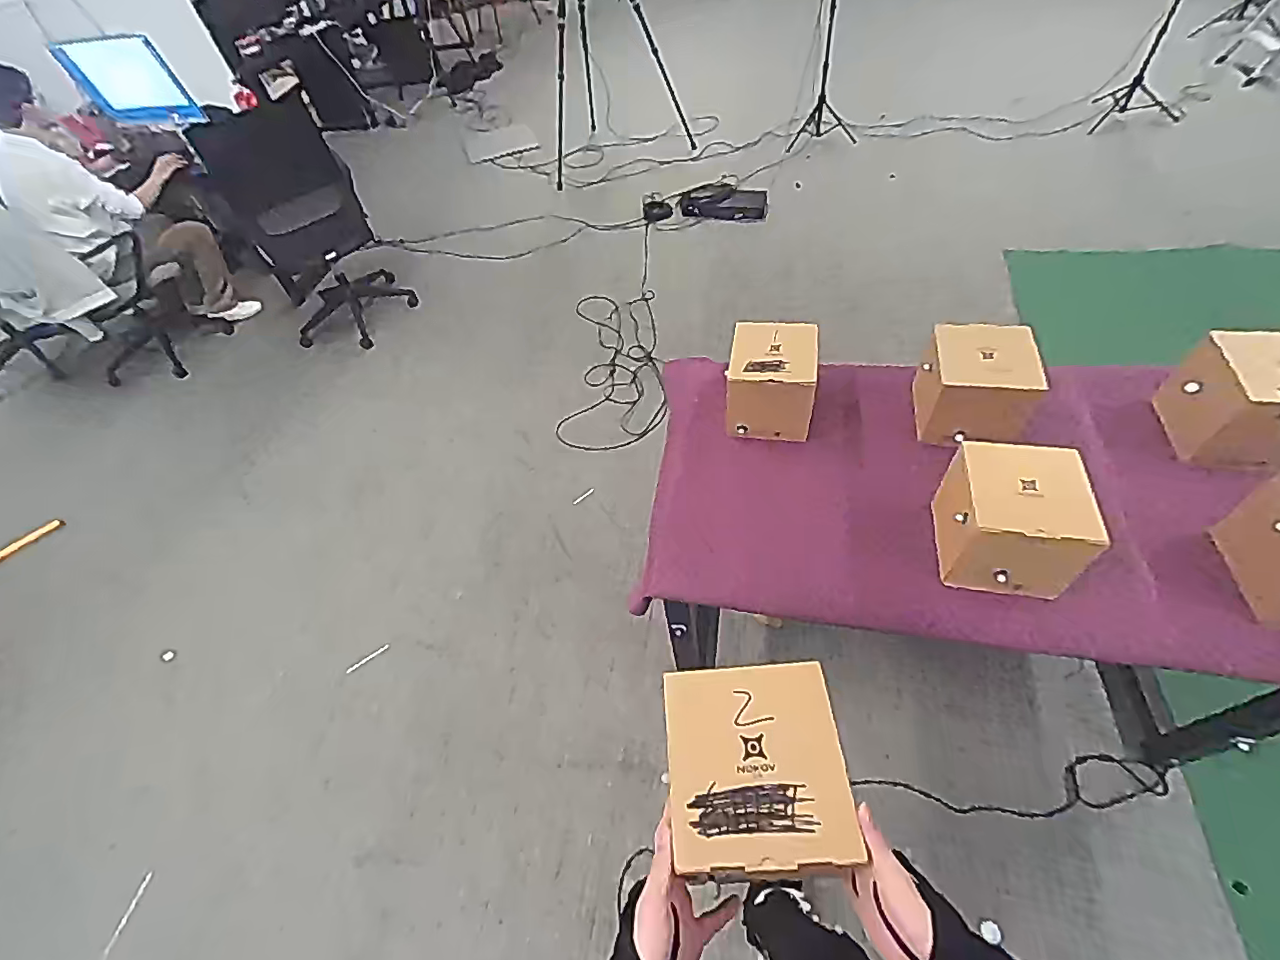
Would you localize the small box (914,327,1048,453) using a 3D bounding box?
[{"bbox_3d":[0.642,-0.170,1.044,0.168,0.176,0.179,7,55,14],"label":"small box"}]

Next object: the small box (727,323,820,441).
[{"bbox_3d":[0.271,-0.198,1.109,0.168,0.176,0.179,6,55,12],"label":"small box"}]

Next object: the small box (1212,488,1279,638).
[{"bbox_3d":[0.994,0.119,0.770,0.168,0.176,0.179,4,53,12],"label":"small box"}]

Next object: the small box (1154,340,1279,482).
[{"bbox_3d":[1.064,-0.120,0.947,0.168,0.176,0.179,6,54,13],"label":"small box"}]

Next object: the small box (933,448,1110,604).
[{"bbox_3d":[0.588,0.074,0.864,0.168,0.176,0.179,7,54,12],"label":"small box"}]
